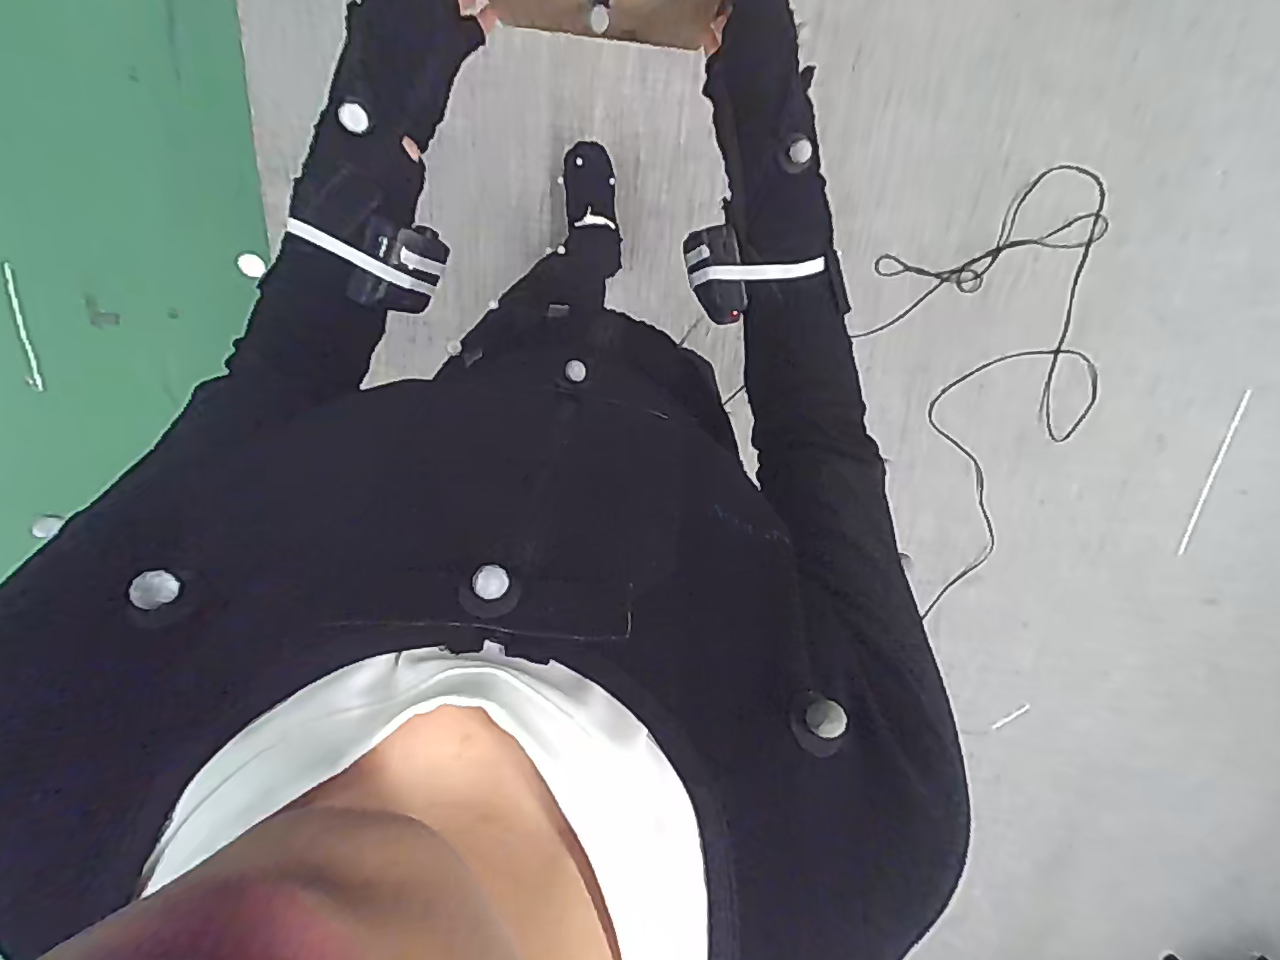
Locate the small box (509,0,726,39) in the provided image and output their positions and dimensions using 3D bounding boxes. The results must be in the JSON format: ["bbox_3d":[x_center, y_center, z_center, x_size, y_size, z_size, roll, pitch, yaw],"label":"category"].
[{"bbox_3d":[-0.015,-0.404,0.331,0.168,0.176,0.179,2,113,-2],"label":"small box"}]
